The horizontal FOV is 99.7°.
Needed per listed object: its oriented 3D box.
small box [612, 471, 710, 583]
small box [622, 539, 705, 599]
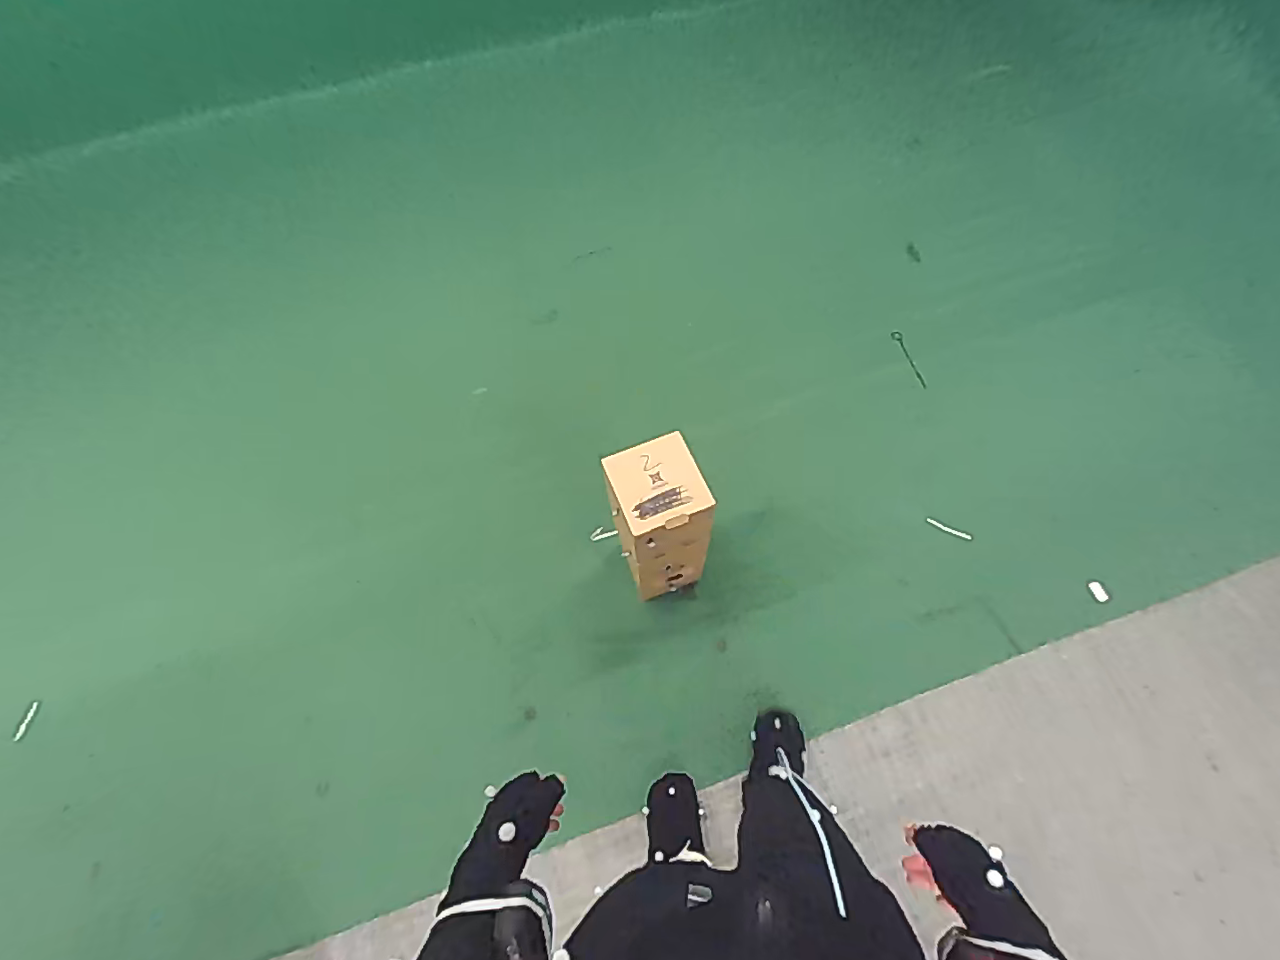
[{"bbox_3d":[0.045,0.111,1.238,0.168,0.176,0.179,-21,66,-8],"label":"small box"},{"bbox_3d":[0.053,0.181,1.385,0.168,0.176,0.179,-20,65,-6],"label":"small box"}]
